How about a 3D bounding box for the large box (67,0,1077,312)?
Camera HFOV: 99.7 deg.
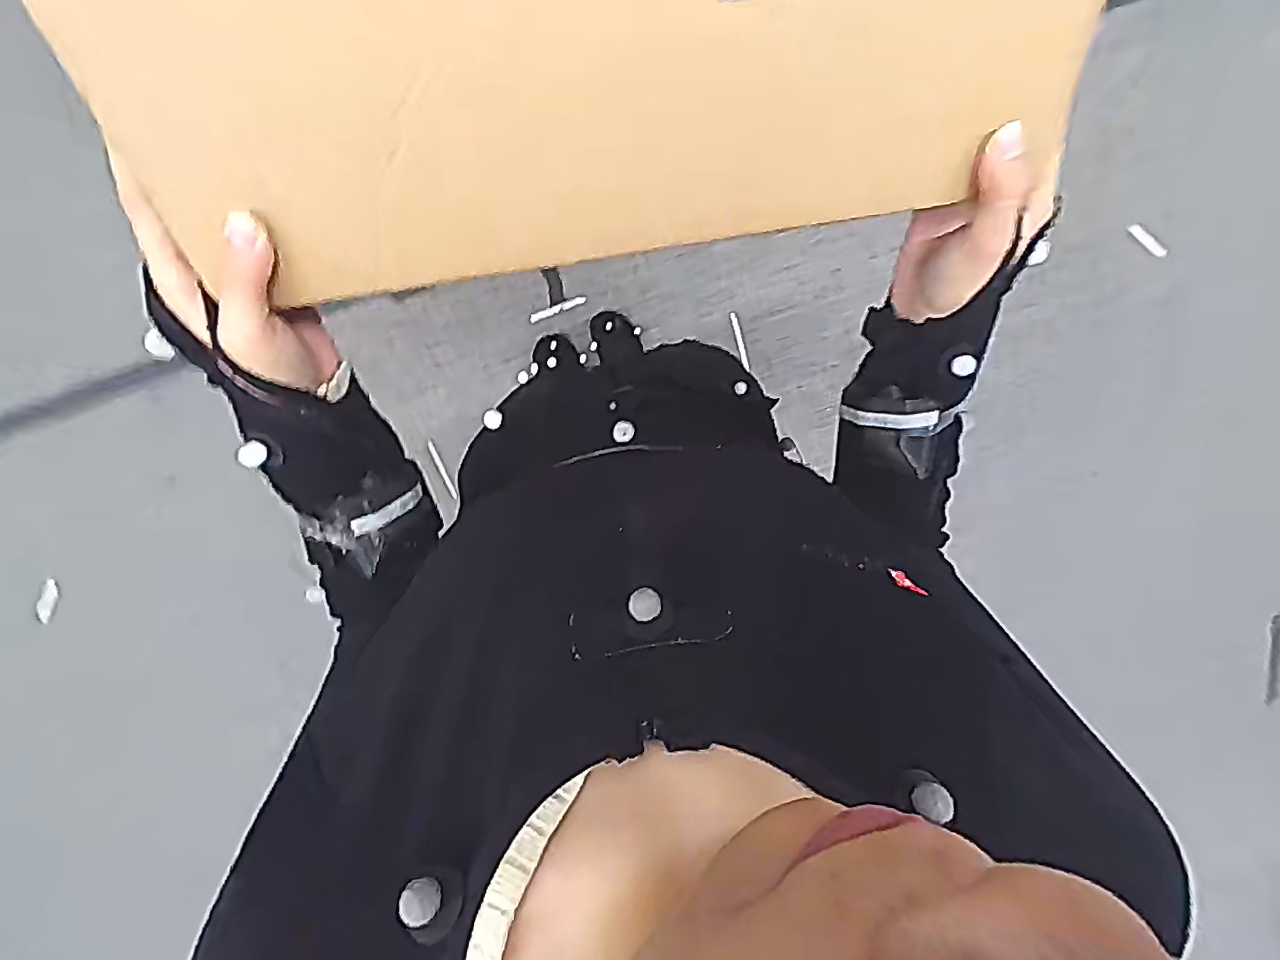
[{"bbox_3d":[-0.037,-0.325,0.296,0.408,0.320,0.320,-10,129,-3],"label":"large box"}]
